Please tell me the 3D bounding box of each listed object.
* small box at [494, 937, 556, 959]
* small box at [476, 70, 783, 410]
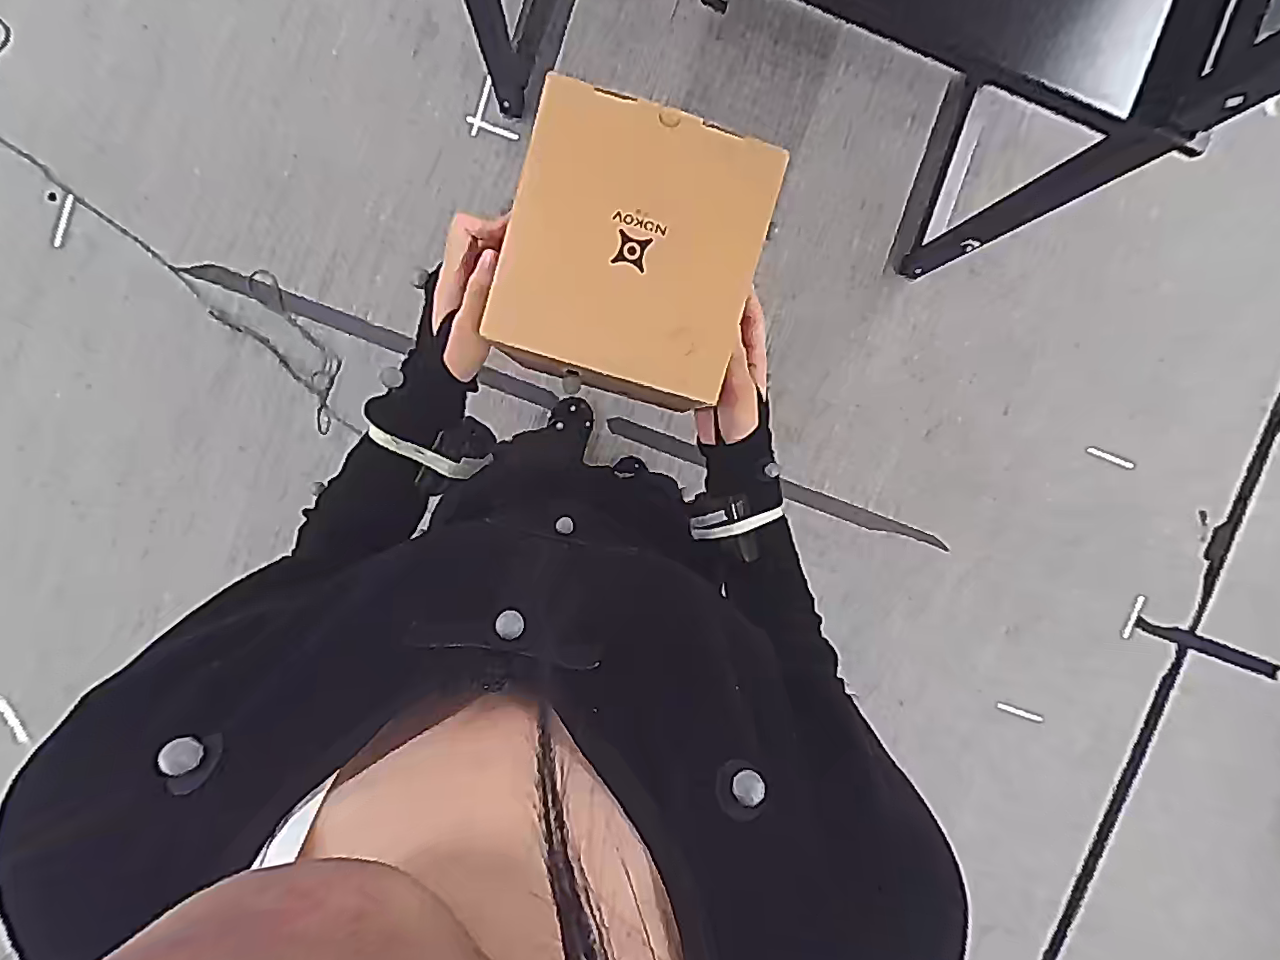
[{"bbox_3d":[-0.336,1.444,1.531,0.179,0.176,0.168,7,94,-6],"label":"small box"},{"bbox_3d":[-0.010,-0.161,0.431,0.168,0.176,0.179,16,92,-4],"label":"small box"}]
